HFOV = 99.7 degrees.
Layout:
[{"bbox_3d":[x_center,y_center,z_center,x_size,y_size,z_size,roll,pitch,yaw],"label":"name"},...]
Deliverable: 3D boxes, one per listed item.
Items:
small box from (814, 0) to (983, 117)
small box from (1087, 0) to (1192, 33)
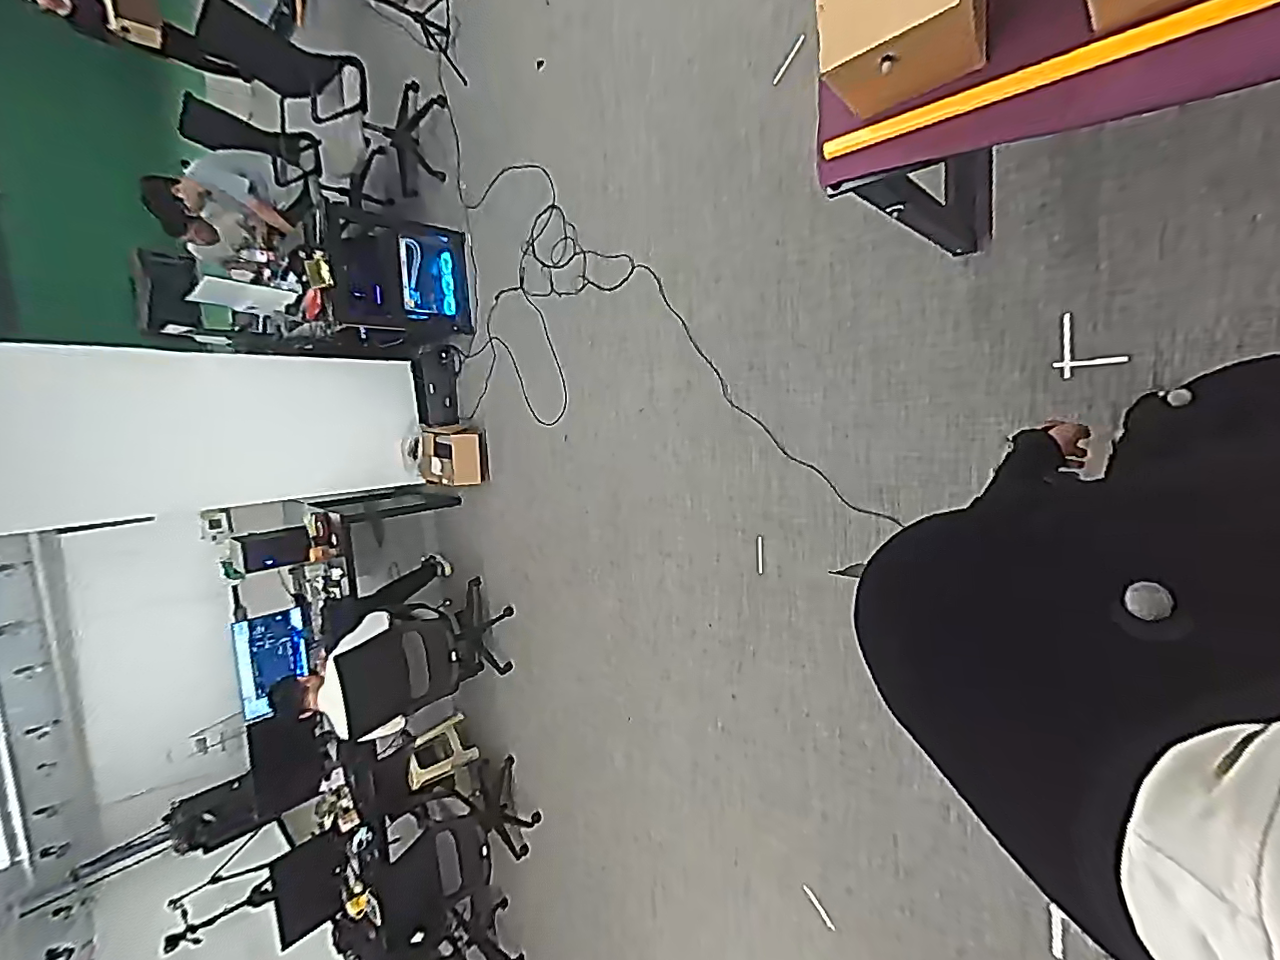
[{"bbox_3d":[0.356,-0.642,0.738,0.179,0.176,0.168,2,98,44],"label":"small box"},{"bbox_3d":[0.558,-0.617,0.545,0.168,0.176,0.179,4,99,45],"label":"small box"}]
